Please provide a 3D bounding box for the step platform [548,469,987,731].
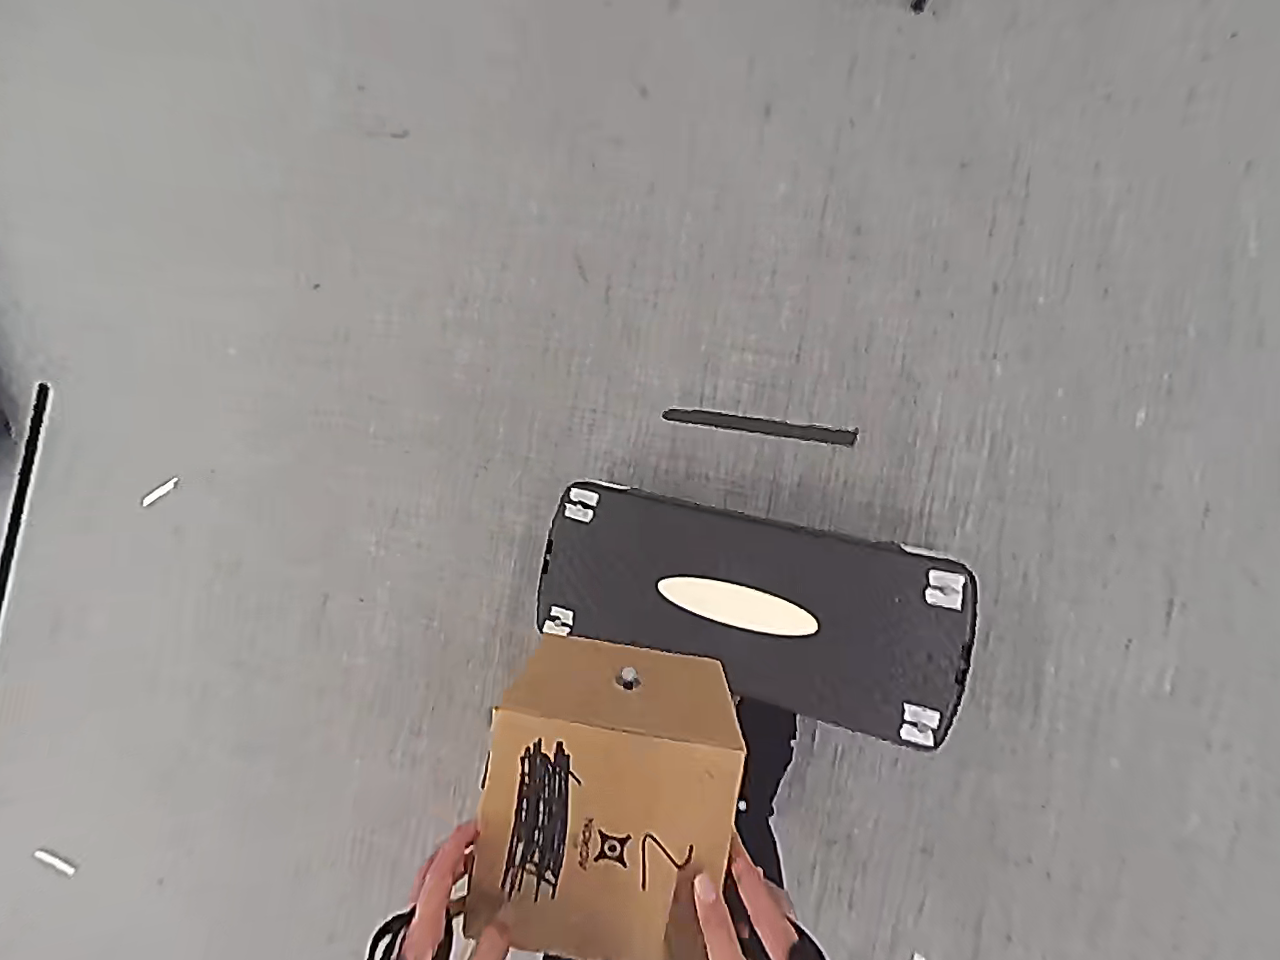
[{"bbox_3d":[0.188,0.176,0.922,0.684,0.204,0.286,11,89,16],"label":"step platform"}]
